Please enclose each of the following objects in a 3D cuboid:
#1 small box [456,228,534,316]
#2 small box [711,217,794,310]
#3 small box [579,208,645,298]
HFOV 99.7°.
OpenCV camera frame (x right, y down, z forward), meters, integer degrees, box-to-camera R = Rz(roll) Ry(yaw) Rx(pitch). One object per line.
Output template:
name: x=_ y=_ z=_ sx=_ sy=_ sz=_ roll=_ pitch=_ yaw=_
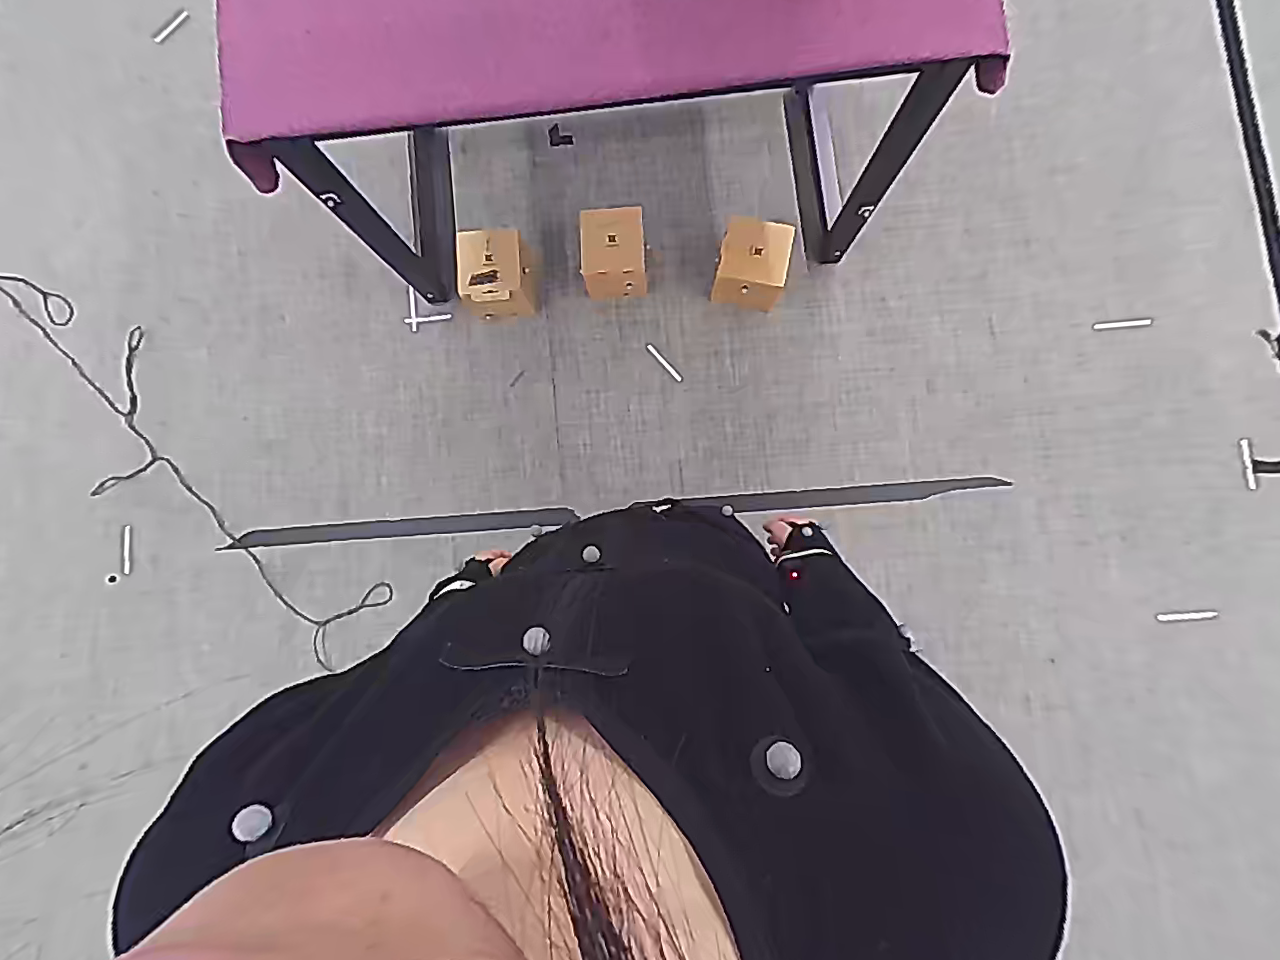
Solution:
small box: x=-0.393 y=-0.562 z=1.487 sx=0.168 sy=0.176 sz=0.179 roll=-4 pitch=85 yaw=2
small box: x=0.298 y=-0.579 z=1.467 sx=0.179 sy=0.176 sz=0.168 roll=12 pitch=87 yaw=4
small box: x=-0.073 y=-0.613 z=1.482 sx=0.168 sy=0.176 sz=0.179 roll=-3 pitch=85 yaw=1
